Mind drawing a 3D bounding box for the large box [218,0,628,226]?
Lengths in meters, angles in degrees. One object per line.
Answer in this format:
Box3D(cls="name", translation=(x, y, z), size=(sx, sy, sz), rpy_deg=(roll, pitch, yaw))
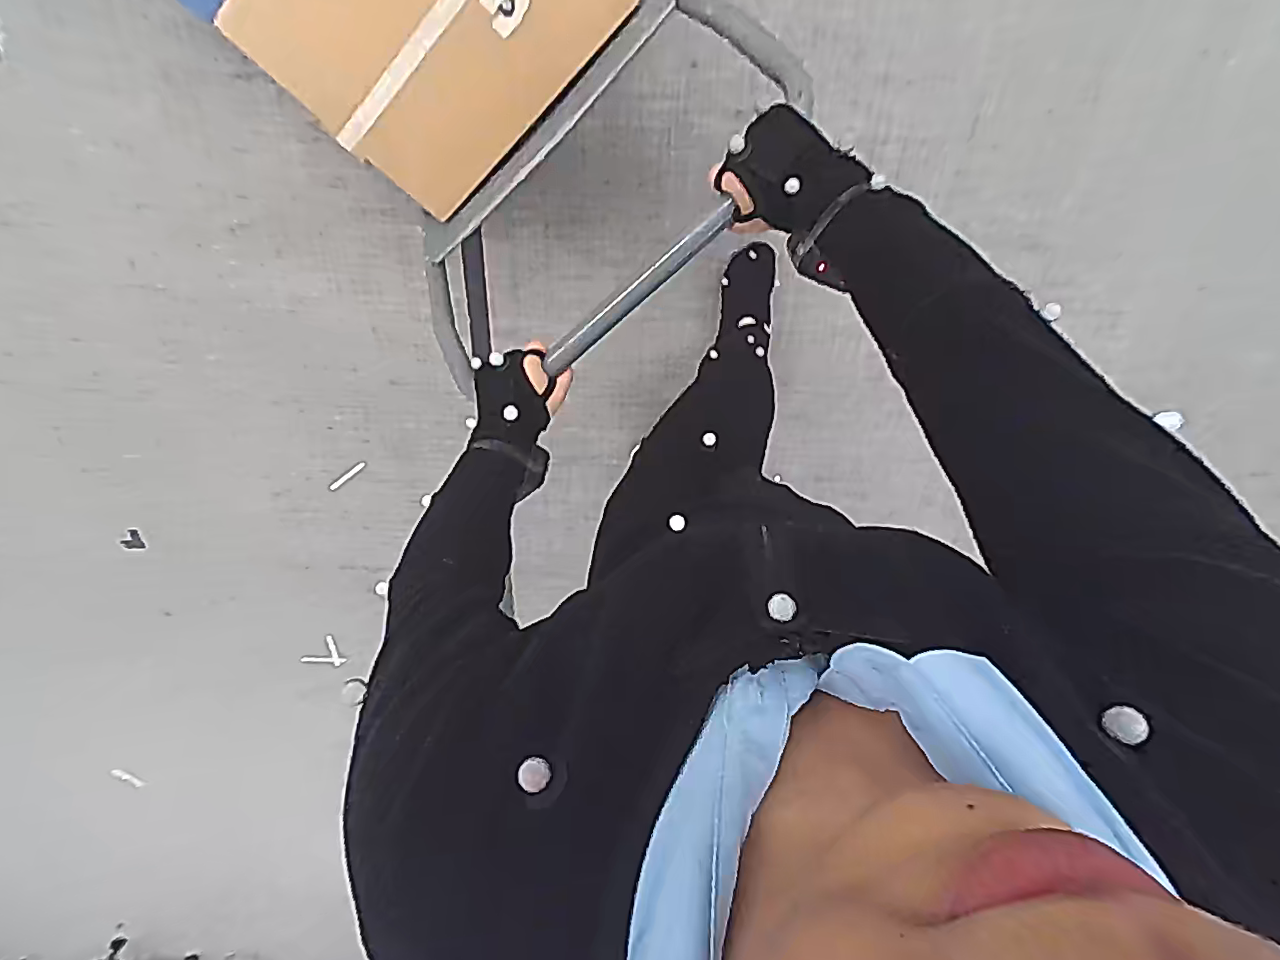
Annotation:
Box3D(cls="large box", translation=(-0.291, -0.664, 0.757), size=(0.408, 0.320, 0.320), rpy_deg=(-39, 136, 19))
